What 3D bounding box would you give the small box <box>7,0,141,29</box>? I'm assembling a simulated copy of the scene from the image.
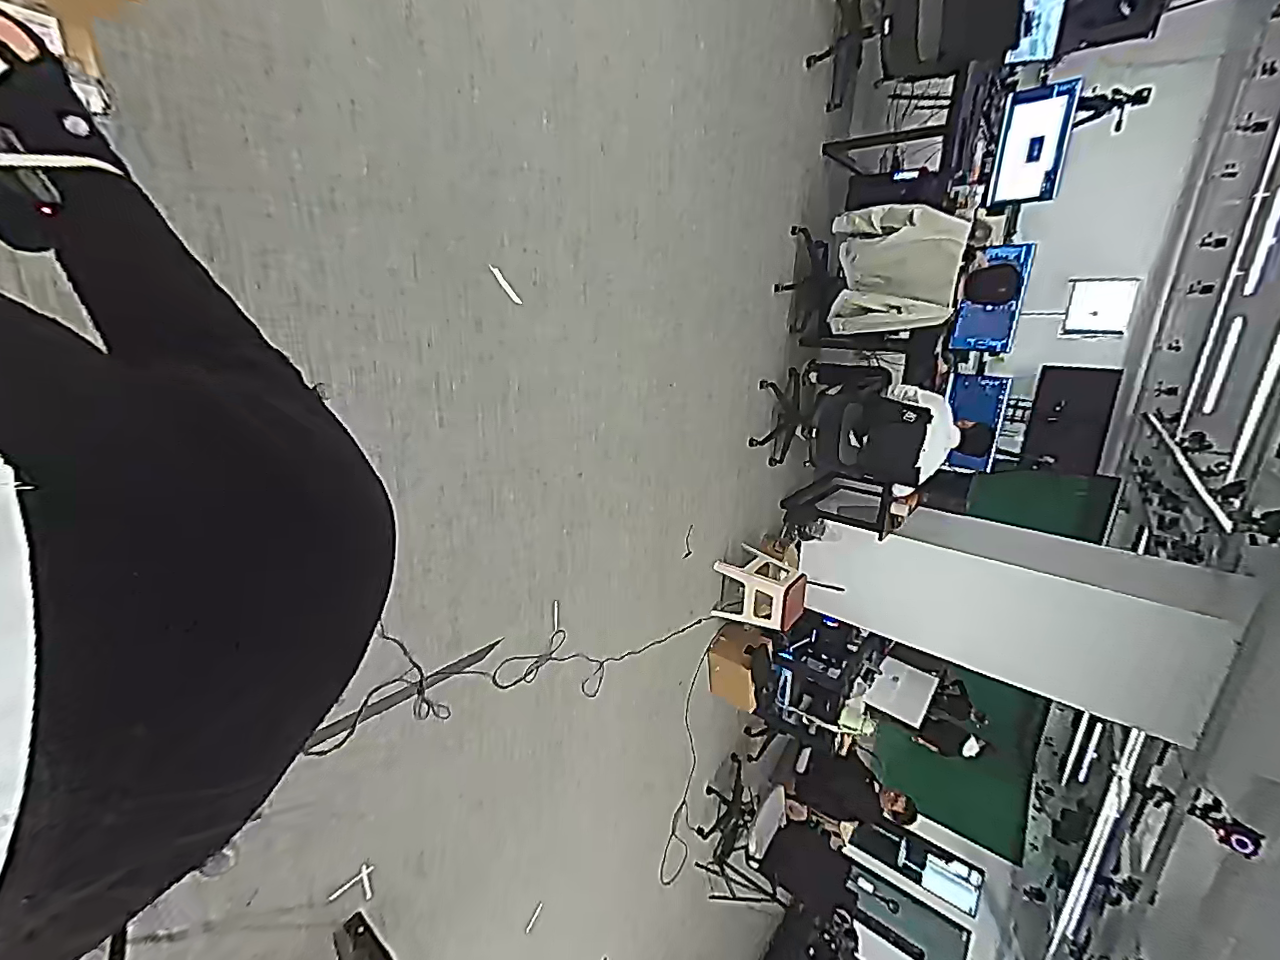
[{"bbox_3d":[-0.646,-0.608,0.545,0.168,0.176,0.179,-17,117,-51],"label":"small box"}]
